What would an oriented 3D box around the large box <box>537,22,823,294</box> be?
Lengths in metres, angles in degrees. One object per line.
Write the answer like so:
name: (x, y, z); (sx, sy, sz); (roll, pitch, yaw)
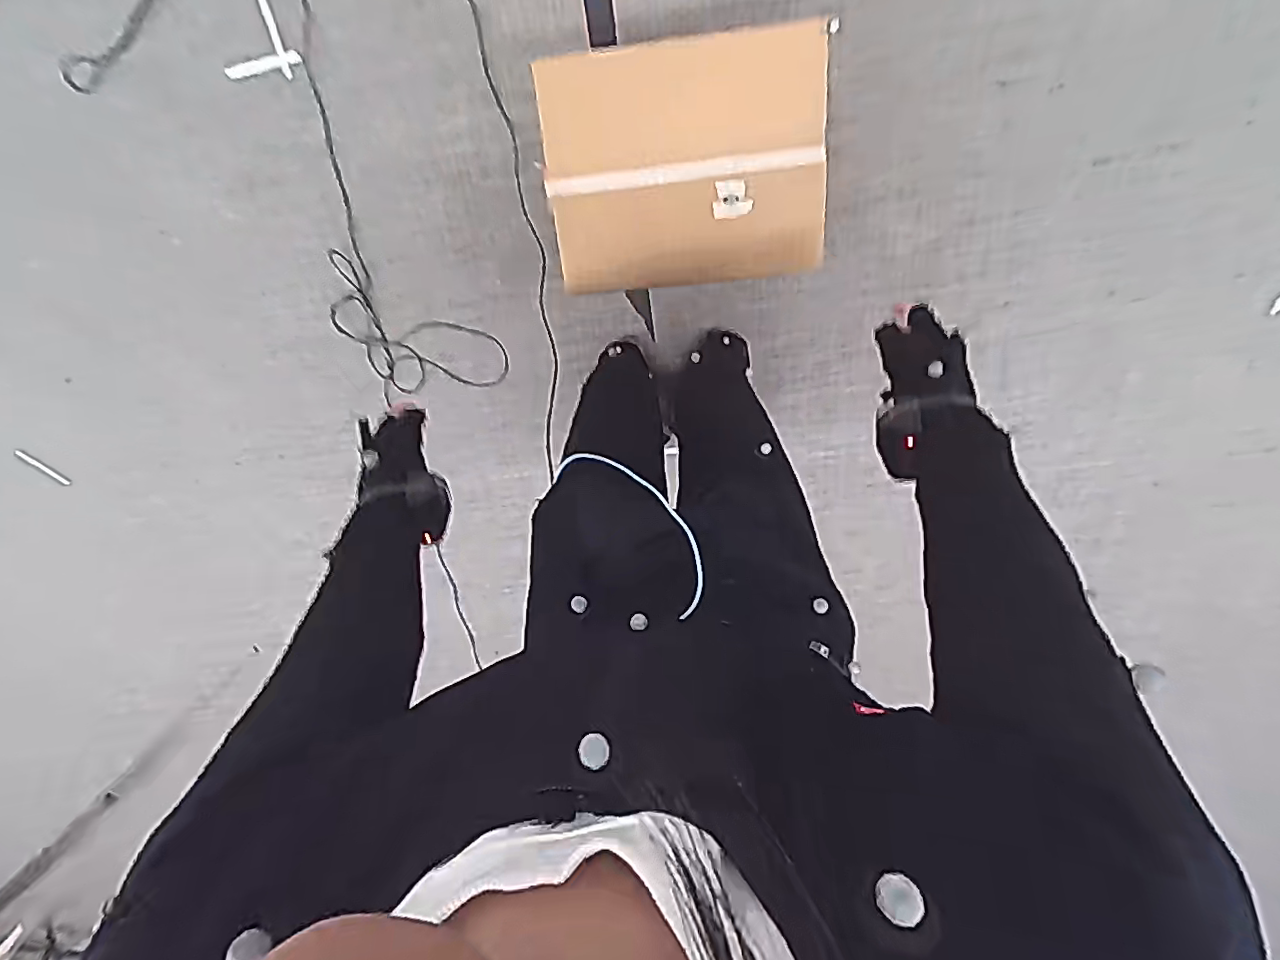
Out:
large box: (0.072, -0.517, 0.939); (0.408, 0.320, 0.320); (-5, 113, 5)
